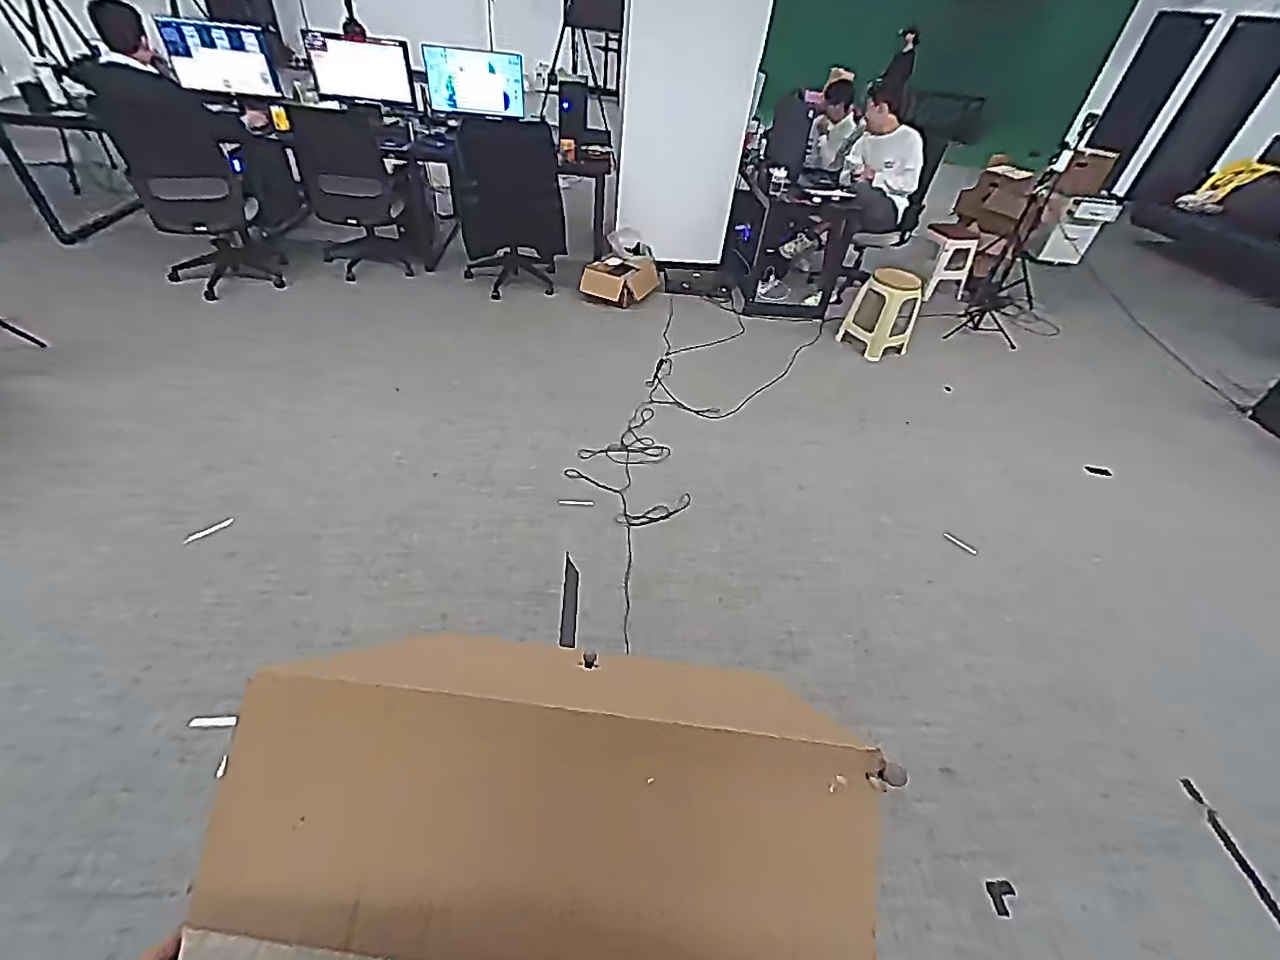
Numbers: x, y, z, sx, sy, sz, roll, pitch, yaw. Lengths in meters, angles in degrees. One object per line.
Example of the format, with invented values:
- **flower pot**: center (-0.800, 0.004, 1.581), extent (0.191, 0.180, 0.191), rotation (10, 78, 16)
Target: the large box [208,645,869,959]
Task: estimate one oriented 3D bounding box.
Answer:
- **large box**: center (-0.065, 0.331, 0.470), extent (0.408, 0.320, 0.320), rotation (6, 80, 2)
